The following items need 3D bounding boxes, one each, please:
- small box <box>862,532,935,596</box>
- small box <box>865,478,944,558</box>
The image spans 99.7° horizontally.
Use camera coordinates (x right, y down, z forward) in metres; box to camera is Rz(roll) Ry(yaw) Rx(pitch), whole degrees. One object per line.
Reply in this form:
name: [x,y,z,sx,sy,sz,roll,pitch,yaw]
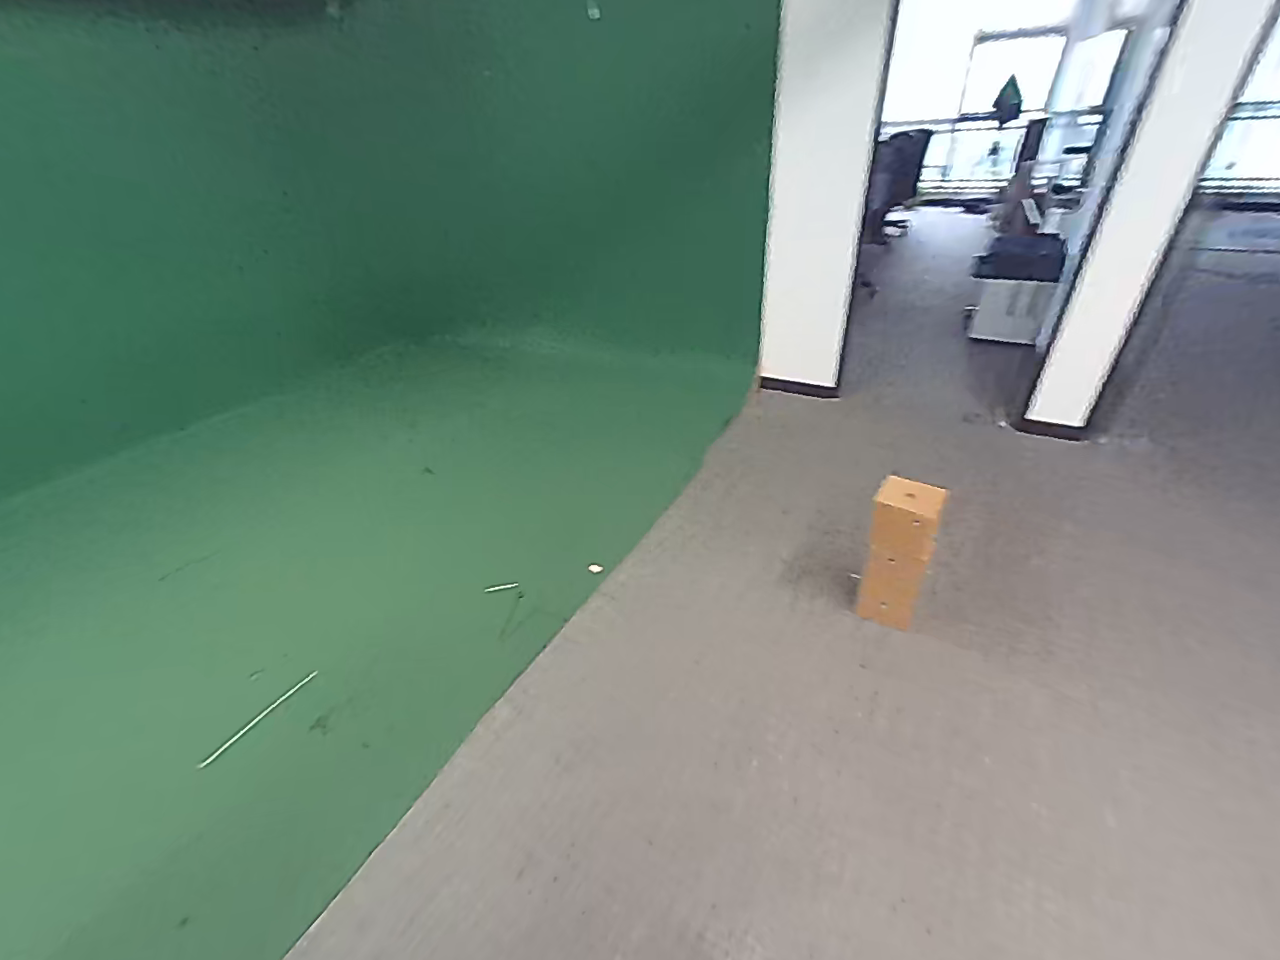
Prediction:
small box: [0.854,0.258,1.797,0.179,0.176,0.168,18,41,29]
small box: [0.831,0.121,1.711,0.179,0.176,0.168,20,42,32]
